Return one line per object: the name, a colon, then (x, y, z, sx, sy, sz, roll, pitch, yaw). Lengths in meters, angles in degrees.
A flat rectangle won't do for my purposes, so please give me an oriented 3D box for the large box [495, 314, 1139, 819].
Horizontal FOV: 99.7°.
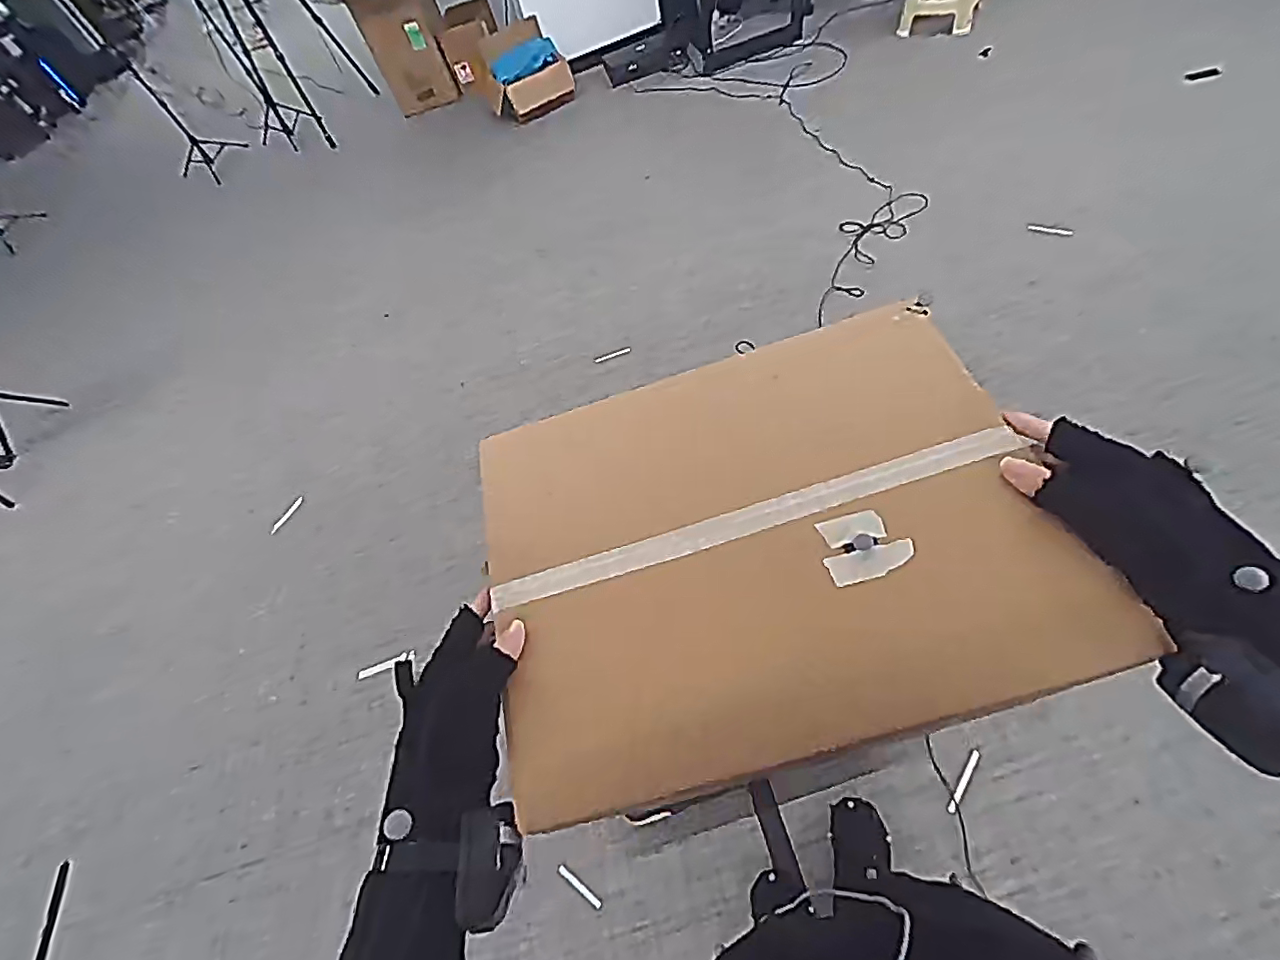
large box: (0.116, 0.107, 0.545, 0.408, 0.320, 0.320, -18, 59, 3)
